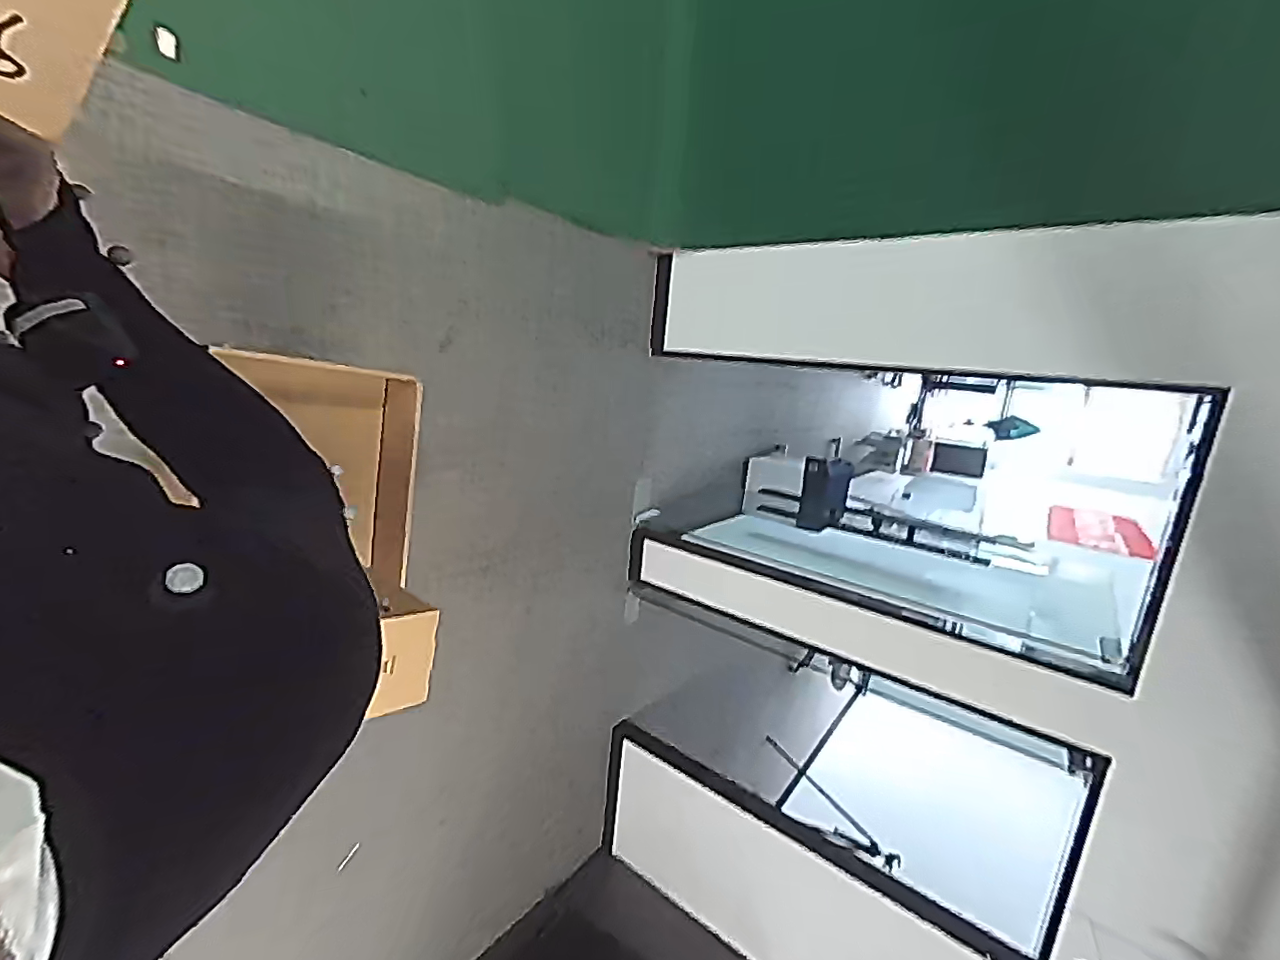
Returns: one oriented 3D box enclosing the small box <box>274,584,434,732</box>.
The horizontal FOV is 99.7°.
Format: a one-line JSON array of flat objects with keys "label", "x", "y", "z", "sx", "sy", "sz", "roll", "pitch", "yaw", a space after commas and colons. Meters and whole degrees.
[{"label": "small box", "x": -0.478, "y": 0.283, "z": 0.902, "sx": 0.179, "sy": 0.176, "sz": 0.168, "roll": 3, "pitch": 98, "yaw": -55}]
